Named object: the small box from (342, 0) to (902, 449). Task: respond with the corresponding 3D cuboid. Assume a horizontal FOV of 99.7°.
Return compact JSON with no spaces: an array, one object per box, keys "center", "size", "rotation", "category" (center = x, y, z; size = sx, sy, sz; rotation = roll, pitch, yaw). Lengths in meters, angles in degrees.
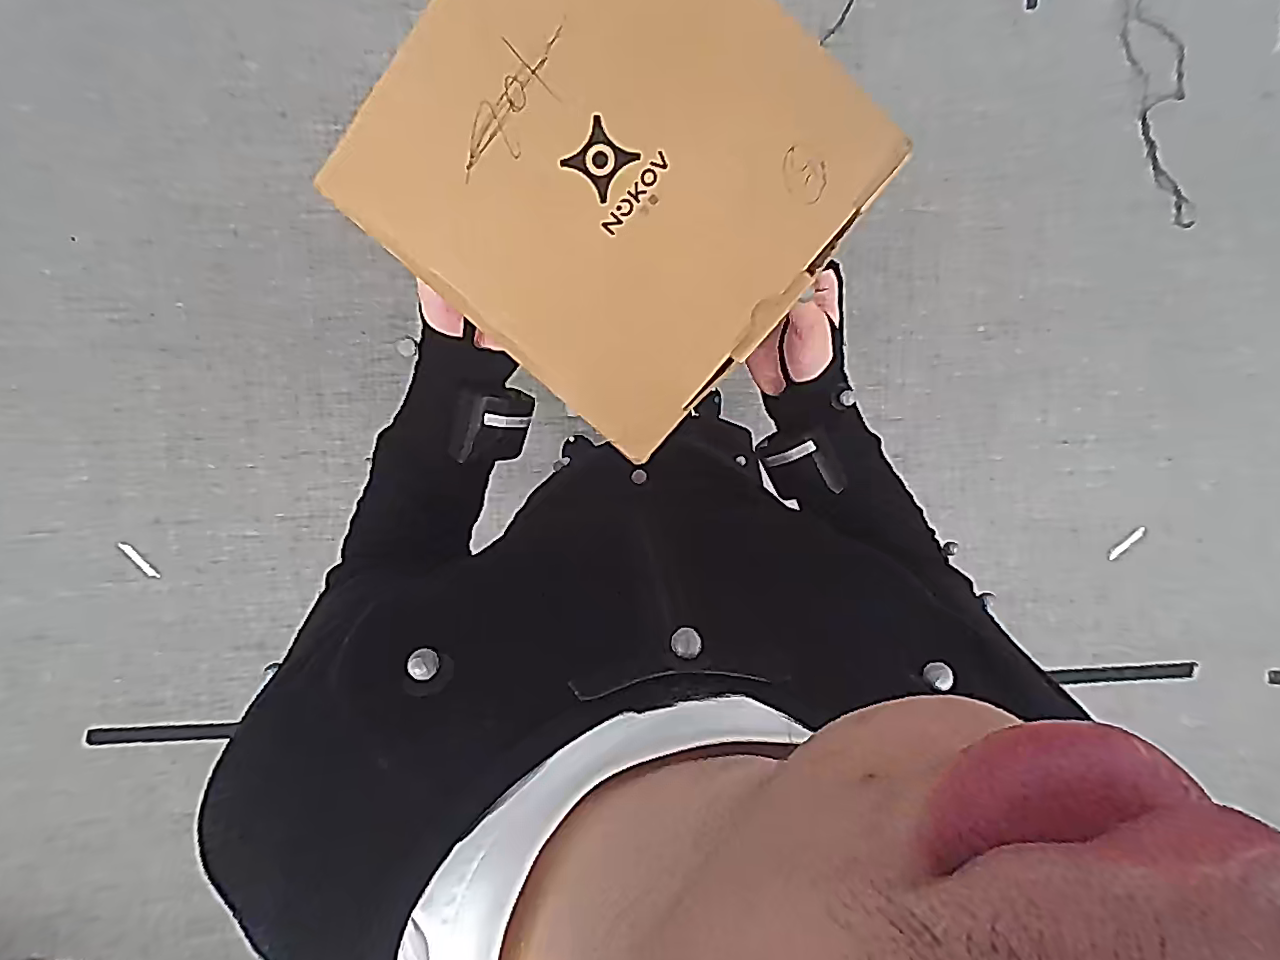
[{"center":[-0.006,-0.143,0.300],"size":[0.179,0.176,0.168],"rotation":[40,100,-5],"category":"small box"}]
